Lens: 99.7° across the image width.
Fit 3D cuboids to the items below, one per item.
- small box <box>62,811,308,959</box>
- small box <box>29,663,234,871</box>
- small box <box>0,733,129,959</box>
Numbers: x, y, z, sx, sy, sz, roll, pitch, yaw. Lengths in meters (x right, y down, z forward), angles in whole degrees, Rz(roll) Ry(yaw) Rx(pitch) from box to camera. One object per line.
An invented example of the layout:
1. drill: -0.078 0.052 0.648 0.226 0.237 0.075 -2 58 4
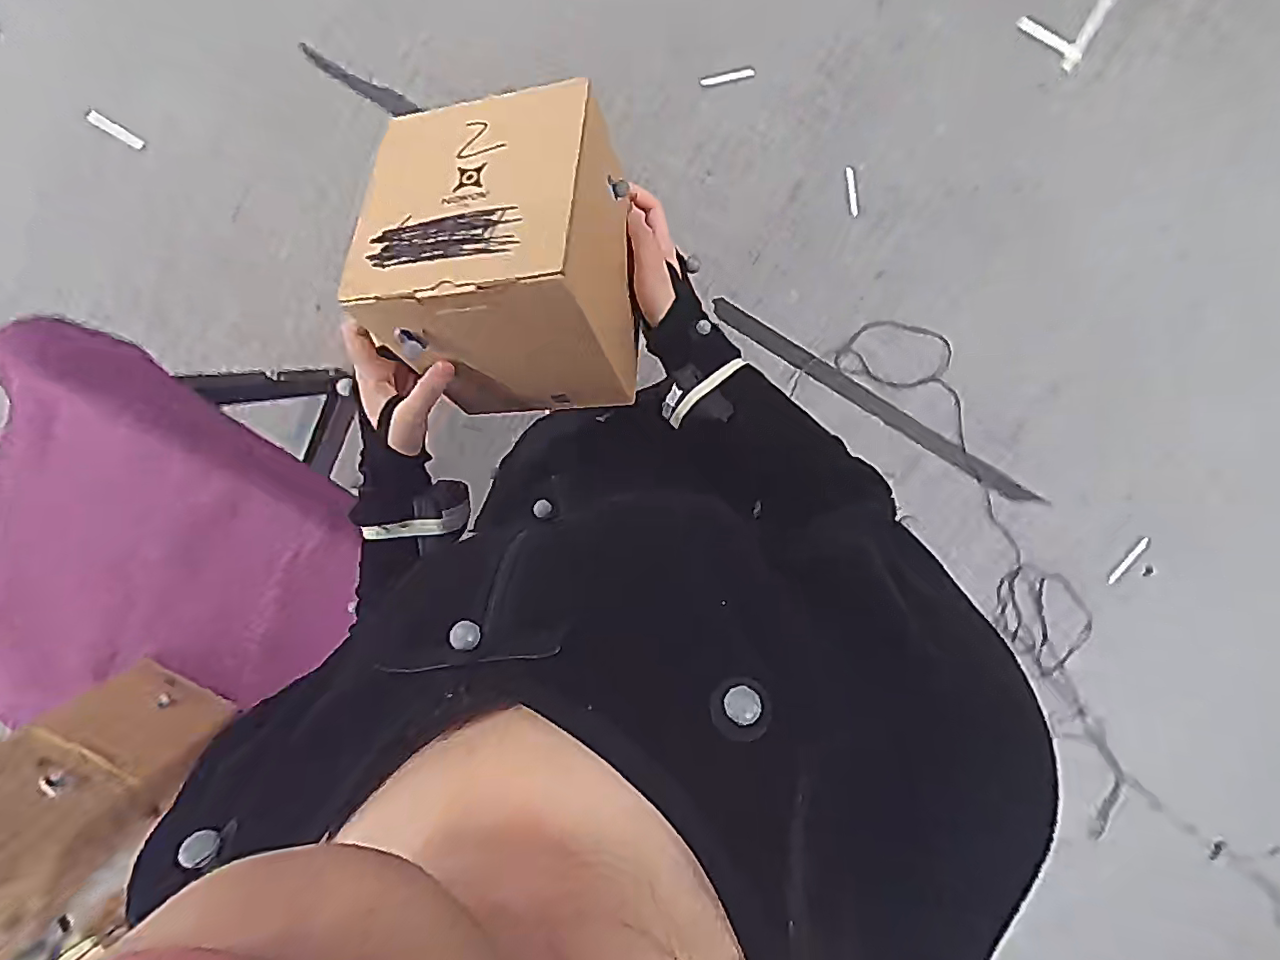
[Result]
1. small box: -0.551 0.560 0.657 0.168 0.176 0.179 32 101 -4
2. small box: -0.760 0.415 0.805 0.168 0.176 0.179 30 102 -4
3. small box: -0.777 0.452 0.647 0.168 0.176 0.179 28 102 -4
